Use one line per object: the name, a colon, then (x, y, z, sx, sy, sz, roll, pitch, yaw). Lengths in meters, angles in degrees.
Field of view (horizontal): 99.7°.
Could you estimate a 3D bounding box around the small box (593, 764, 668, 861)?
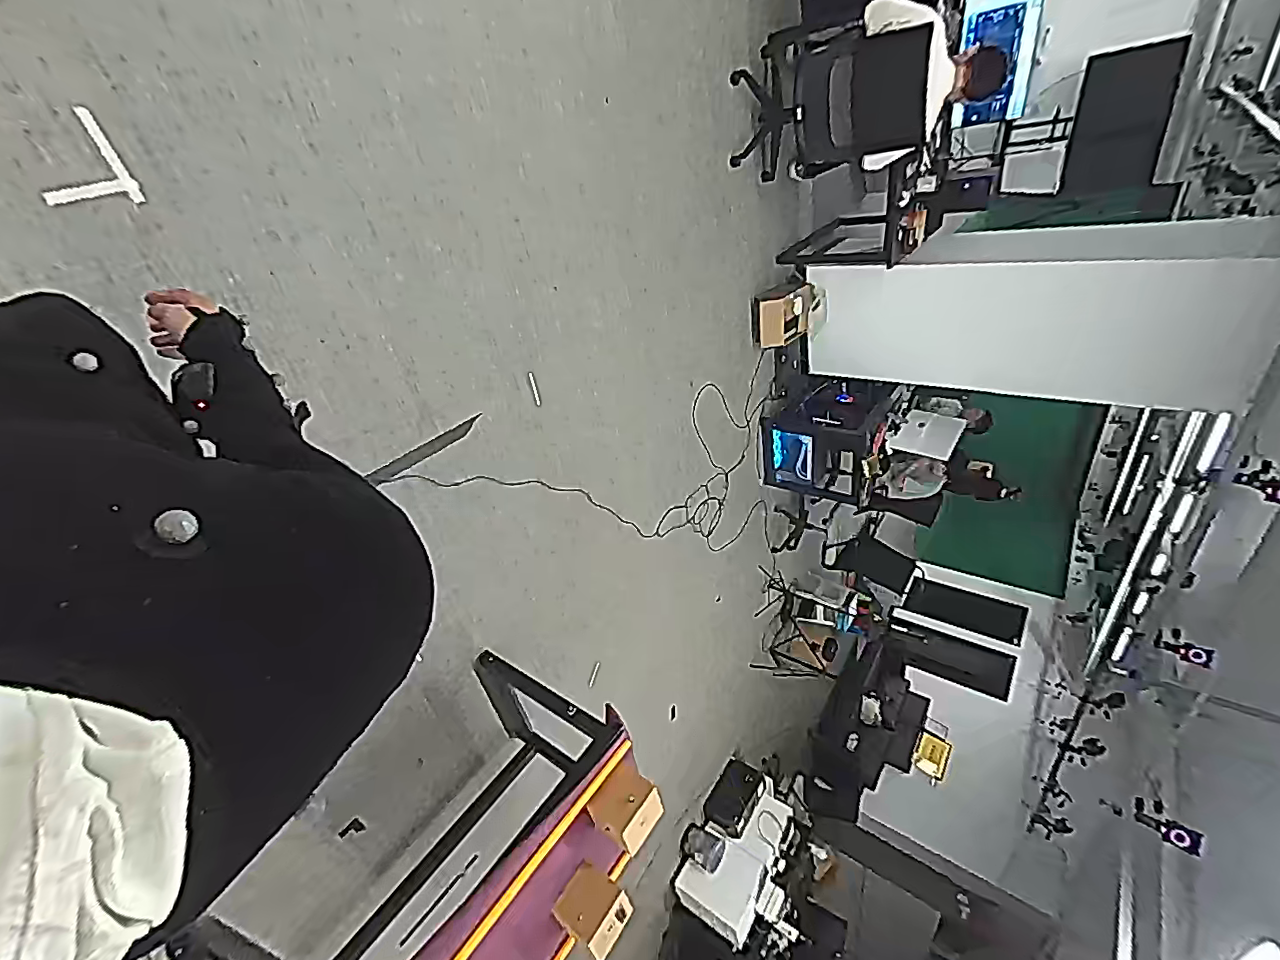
small box: (-0.036, 1.082, 1.768, 0.179, 0.176, 0.168, -41, 132, -36)
